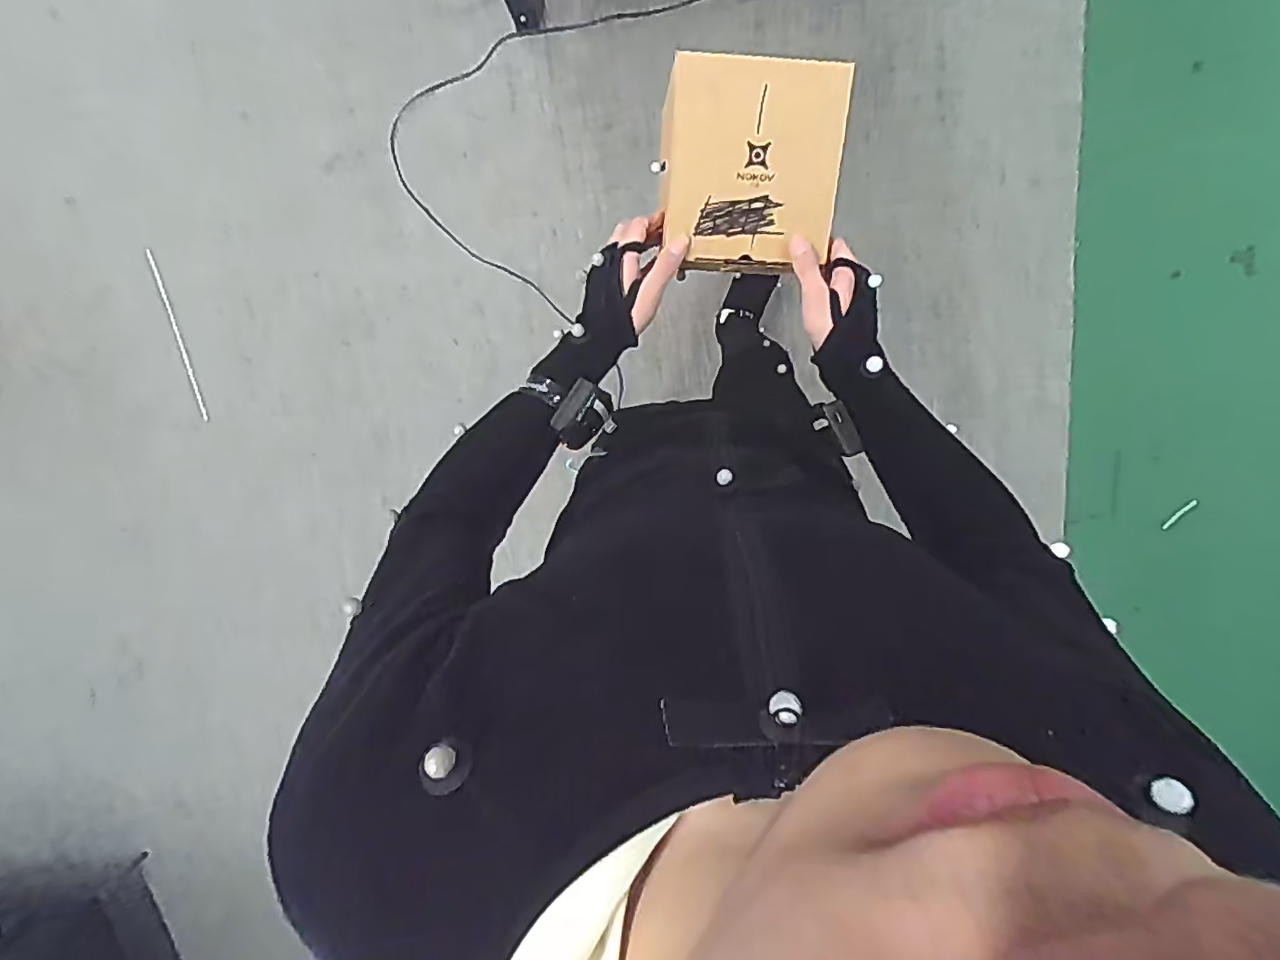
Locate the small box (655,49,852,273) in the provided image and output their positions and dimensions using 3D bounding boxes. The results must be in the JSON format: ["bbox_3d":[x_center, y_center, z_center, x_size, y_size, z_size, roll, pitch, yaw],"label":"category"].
[{"bbox_3d":[0.105,-0.325,0.589,0.168,0.176,0.179,2,107,-3],"label":"small box"}]
